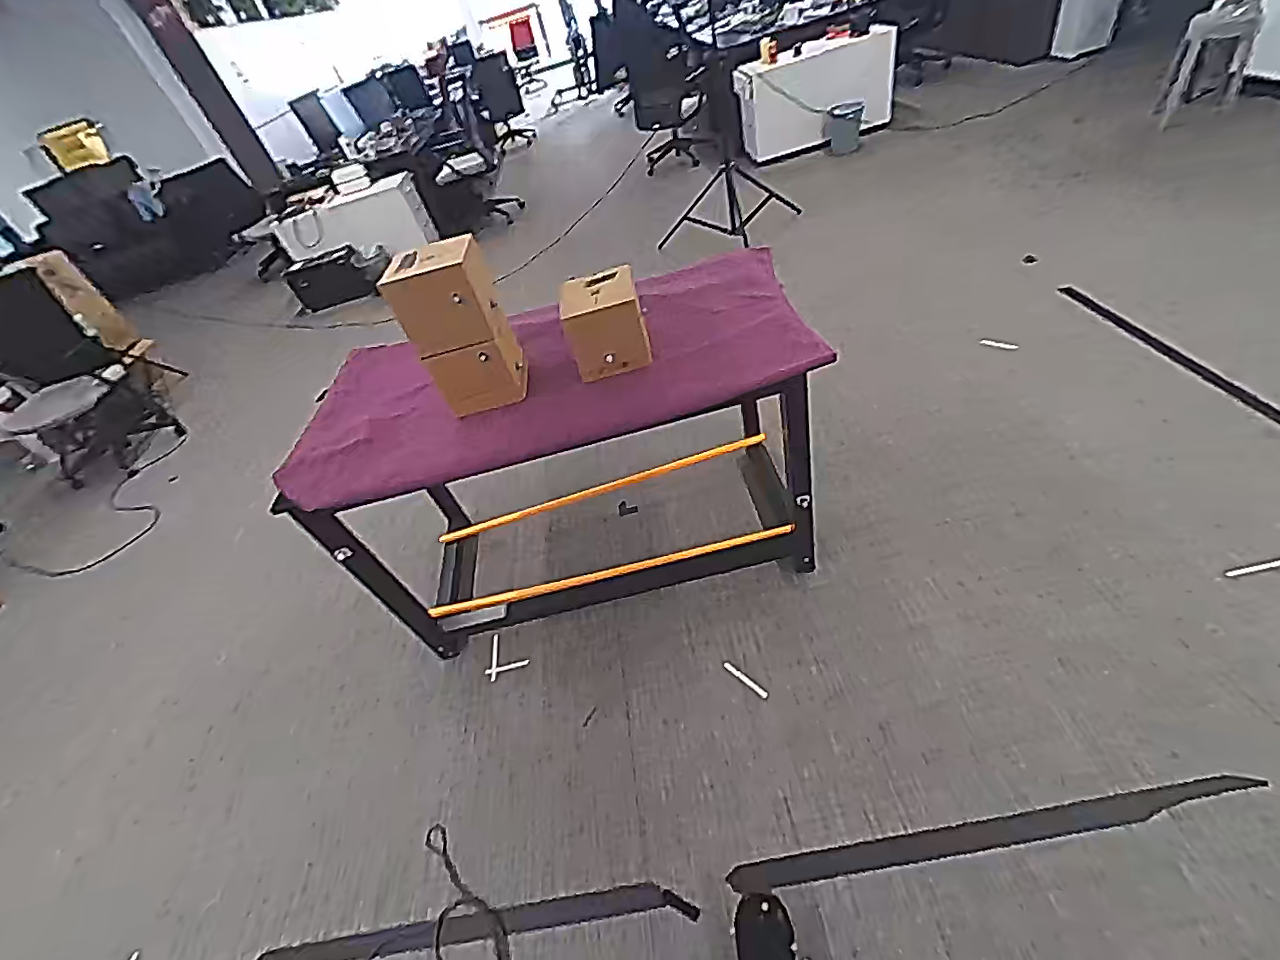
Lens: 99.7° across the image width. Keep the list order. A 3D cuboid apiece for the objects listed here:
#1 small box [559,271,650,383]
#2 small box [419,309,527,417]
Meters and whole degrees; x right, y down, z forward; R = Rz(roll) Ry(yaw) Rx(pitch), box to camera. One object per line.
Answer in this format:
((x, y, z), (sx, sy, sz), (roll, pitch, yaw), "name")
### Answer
((-0.080, -0.350, 1.245), (0.168, 0.176, 0.179), (-14, 43, 6), "small box")
((-0.382, -0.269, 1.267), (0.179, 0.176, 0.168), (-14, 43, 4), "small box")
